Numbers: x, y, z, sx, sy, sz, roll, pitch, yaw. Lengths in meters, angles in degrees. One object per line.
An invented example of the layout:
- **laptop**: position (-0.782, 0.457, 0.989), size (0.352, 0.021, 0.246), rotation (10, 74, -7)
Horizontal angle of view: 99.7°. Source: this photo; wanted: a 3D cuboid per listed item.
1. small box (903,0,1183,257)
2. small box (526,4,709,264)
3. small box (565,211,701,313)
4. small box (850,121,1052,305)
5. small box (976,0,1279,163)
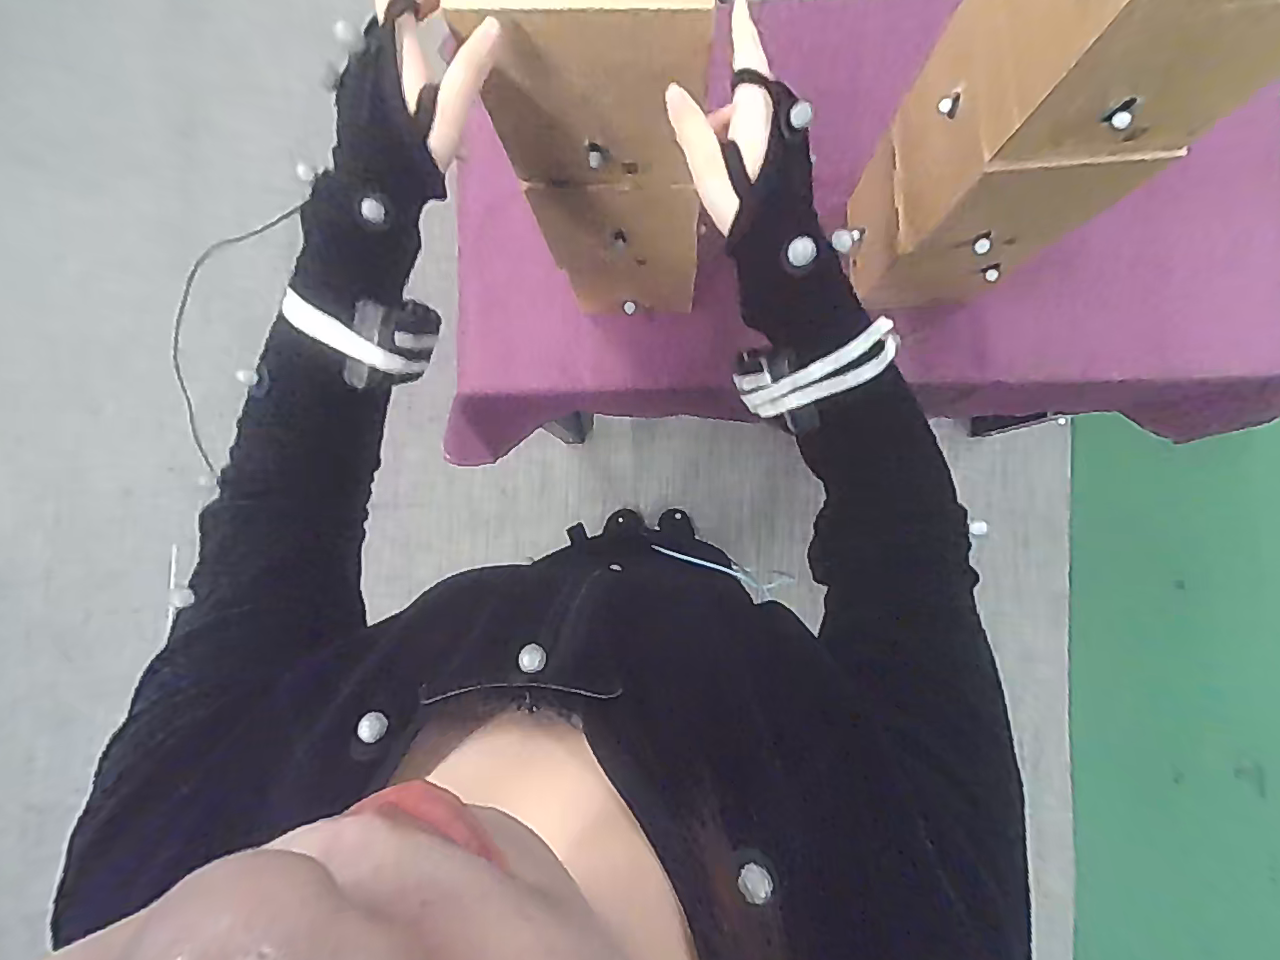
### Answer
- **small box**: position (0.385, -0.352, 0.550), size (0.168, 0.176, 0.179), rotation (-2, 87, 4)
- **small box**: position (-0.016, -0.345, 0.573), size (0.168, 0.176, 0.179), rotation (1, 88, 3)
- **small box**: position (-0.004, -0.344, 0.737), size (0.168, 0.176, 0.179), rotation (1, 87, 3)
- **small box**: position (0.395, -0.341, 0.713), size (0.179, 0.176, 0.168), rotation (-1, 86, 3)
- **small box**: position (0.371, -0.368, 0.390), size (0.168, 0.176, 0.179), rotation (-4, 87, 4)
